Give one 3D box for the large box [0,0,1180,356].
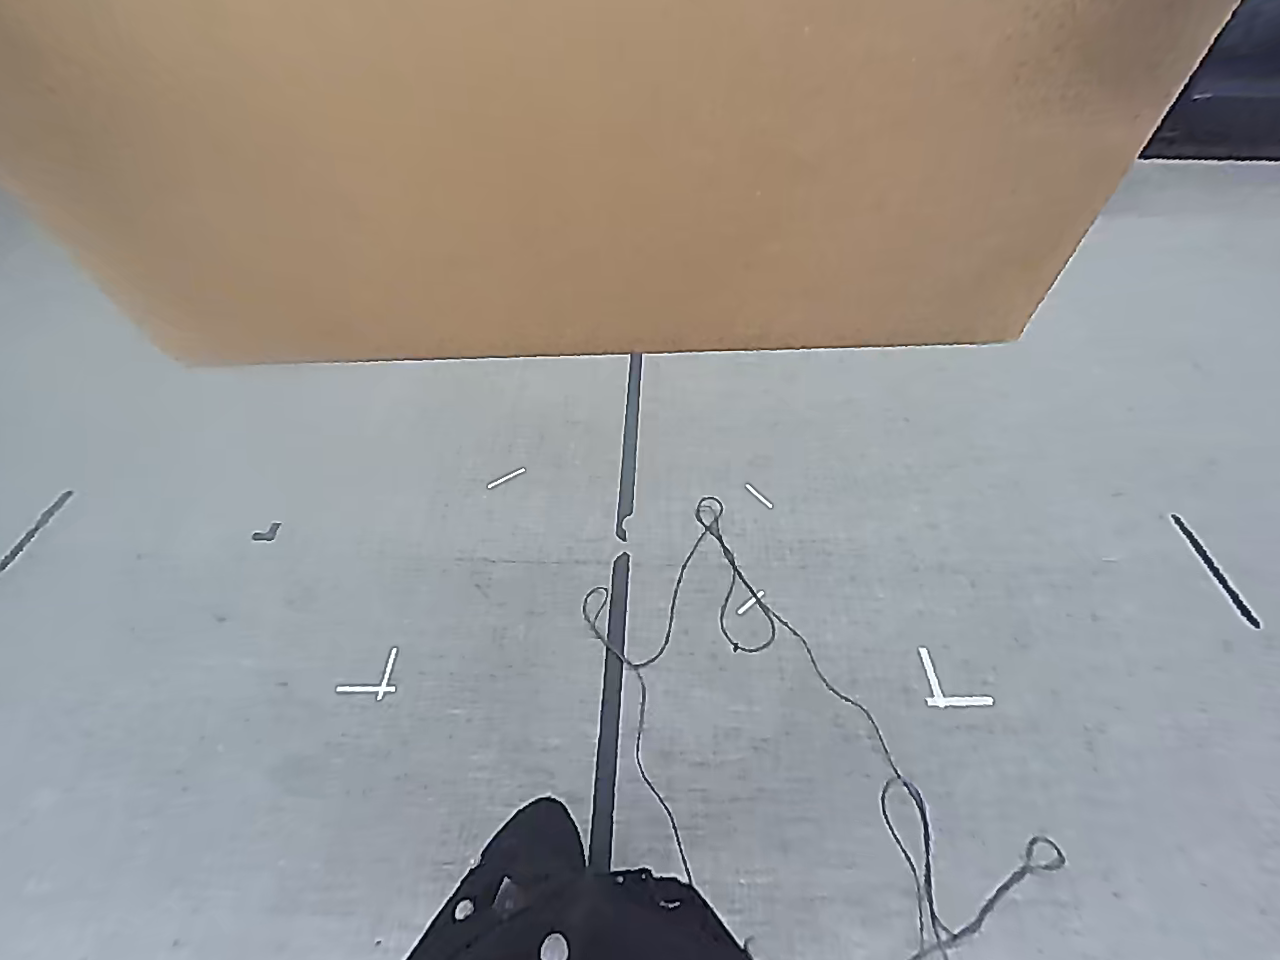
[{"bbox_3d":[-0.030,-0.276,0.241,0.408,0.320,0.320,-1,54,1],"label":"large box"}]
